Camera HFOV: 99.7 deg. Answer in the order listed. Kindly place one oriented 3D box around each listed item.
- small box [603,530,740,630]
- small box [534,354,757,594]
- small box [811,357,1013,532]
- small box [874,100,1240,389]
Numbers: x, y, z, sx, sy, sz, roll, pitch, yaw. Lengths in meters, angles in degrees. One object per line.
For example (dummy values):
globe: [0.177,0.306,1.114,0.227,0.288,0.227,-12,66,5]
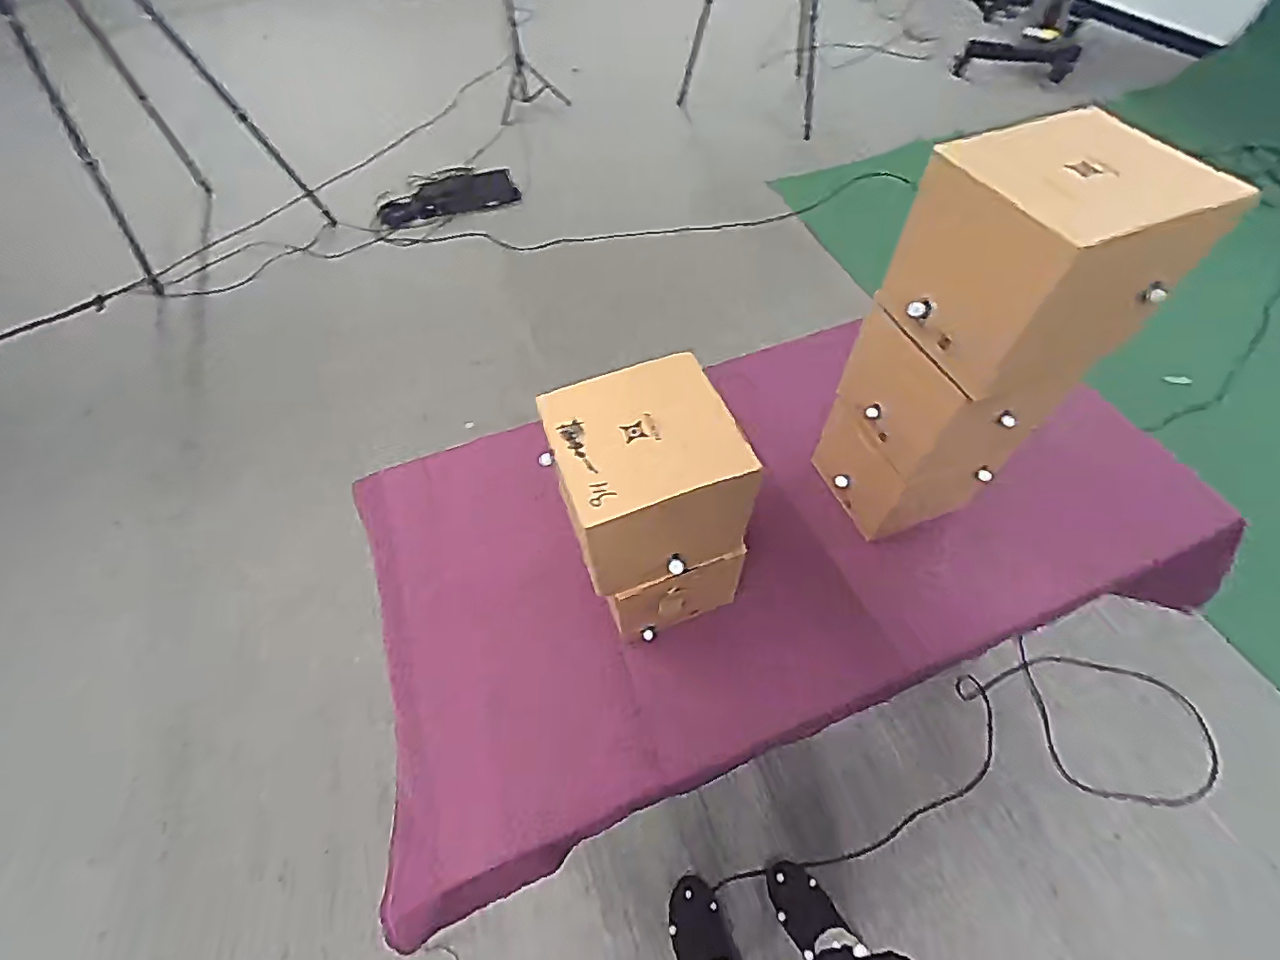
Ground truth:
small box: [0.017,0.083,0.726,0.168,0.176,0.179,-20,58,-11]
small box: [0.001,-0.002,0.586,0.179,0.176,0.168,-19,58,-10]
small box: [0.380,-0.051,0.794,0.179,0.176,0.168,-19,58,-10]
small box: [0.359,-0.216,0.510,0.179,0.176,0.168,-20,57,-9]
